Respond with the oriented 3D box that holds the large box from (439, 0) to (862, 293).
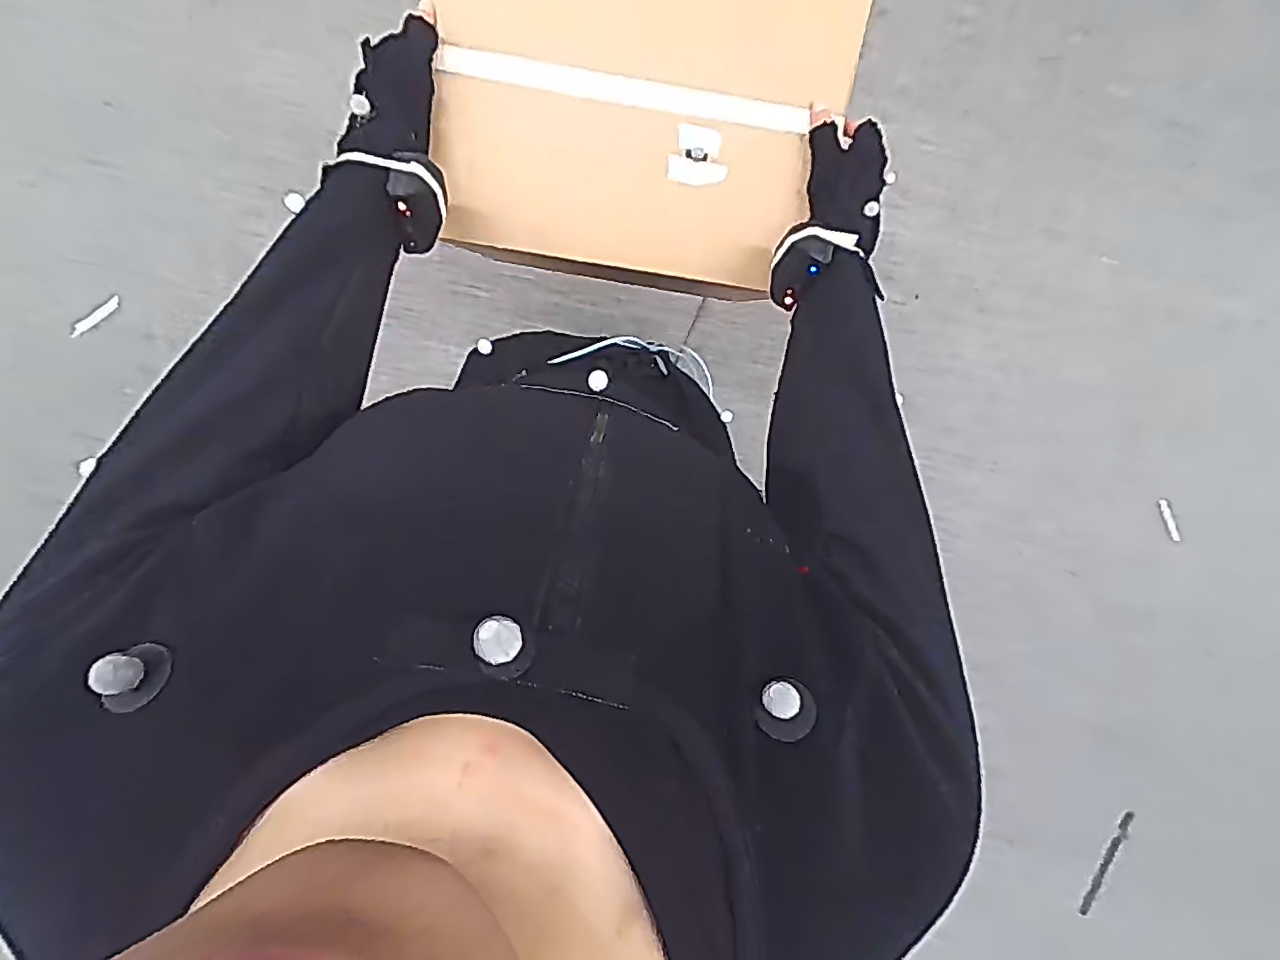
[{"bbox_3d":[-0.004,-0.424,0.679,0.408,0.320,0.320,7,108,-4],"label":"large box"}]
